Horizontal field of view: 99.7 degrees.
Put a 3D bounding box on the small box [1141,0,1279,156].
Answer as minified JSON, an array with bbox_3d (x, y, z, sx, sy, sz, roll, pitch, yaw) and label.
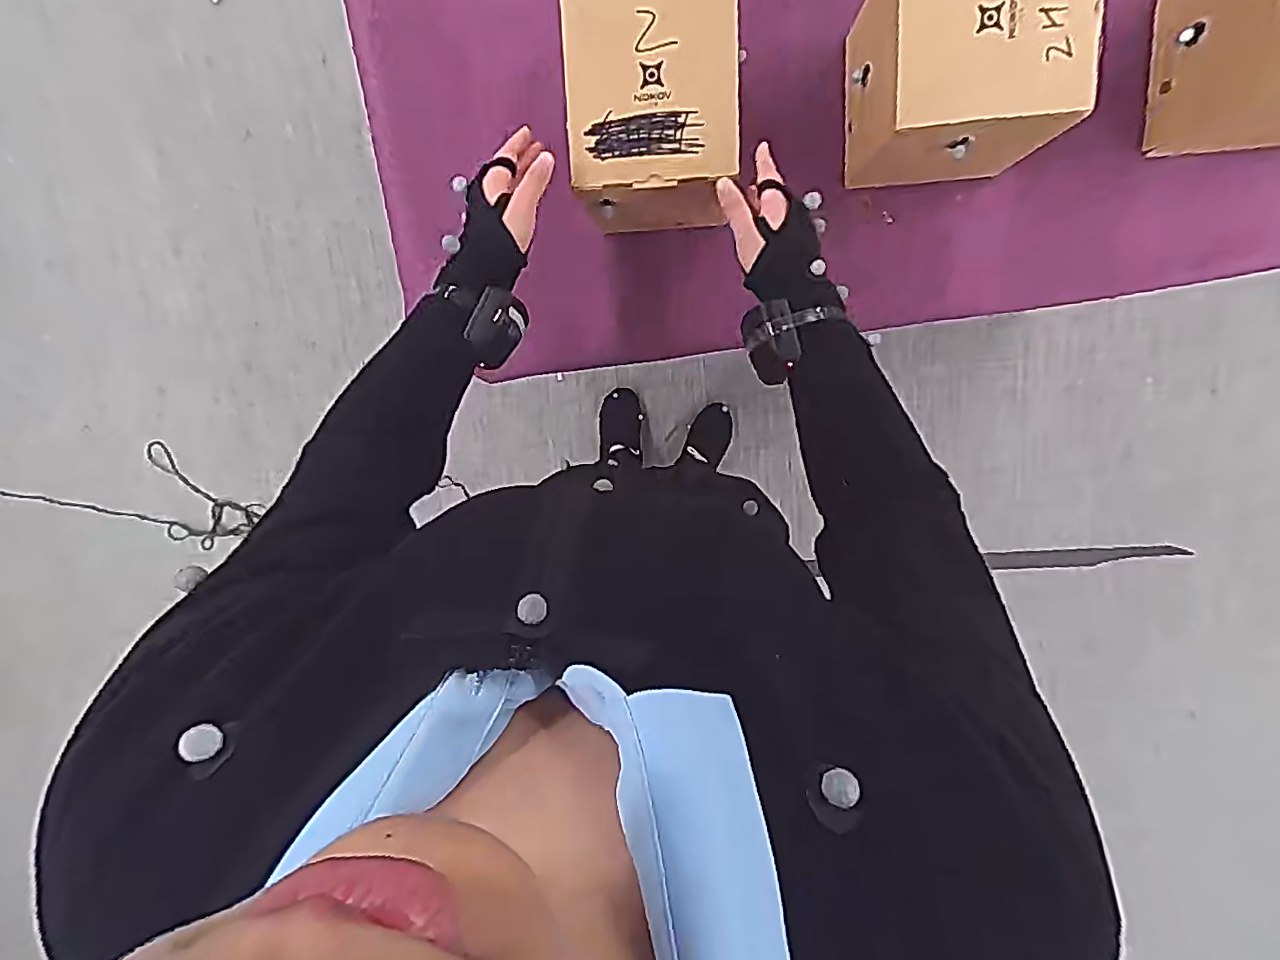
[{"bbox_3d":[0.657,-0.442,0.527,0.179,0.176,0.168,-2,100,6],"label":"small box"}]

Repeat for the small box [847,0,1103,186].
[{"bbox_3d":[0.323,-0.420,0.557,0.179,0.176,0.168,-2,101,4],"label":"small box"}]
